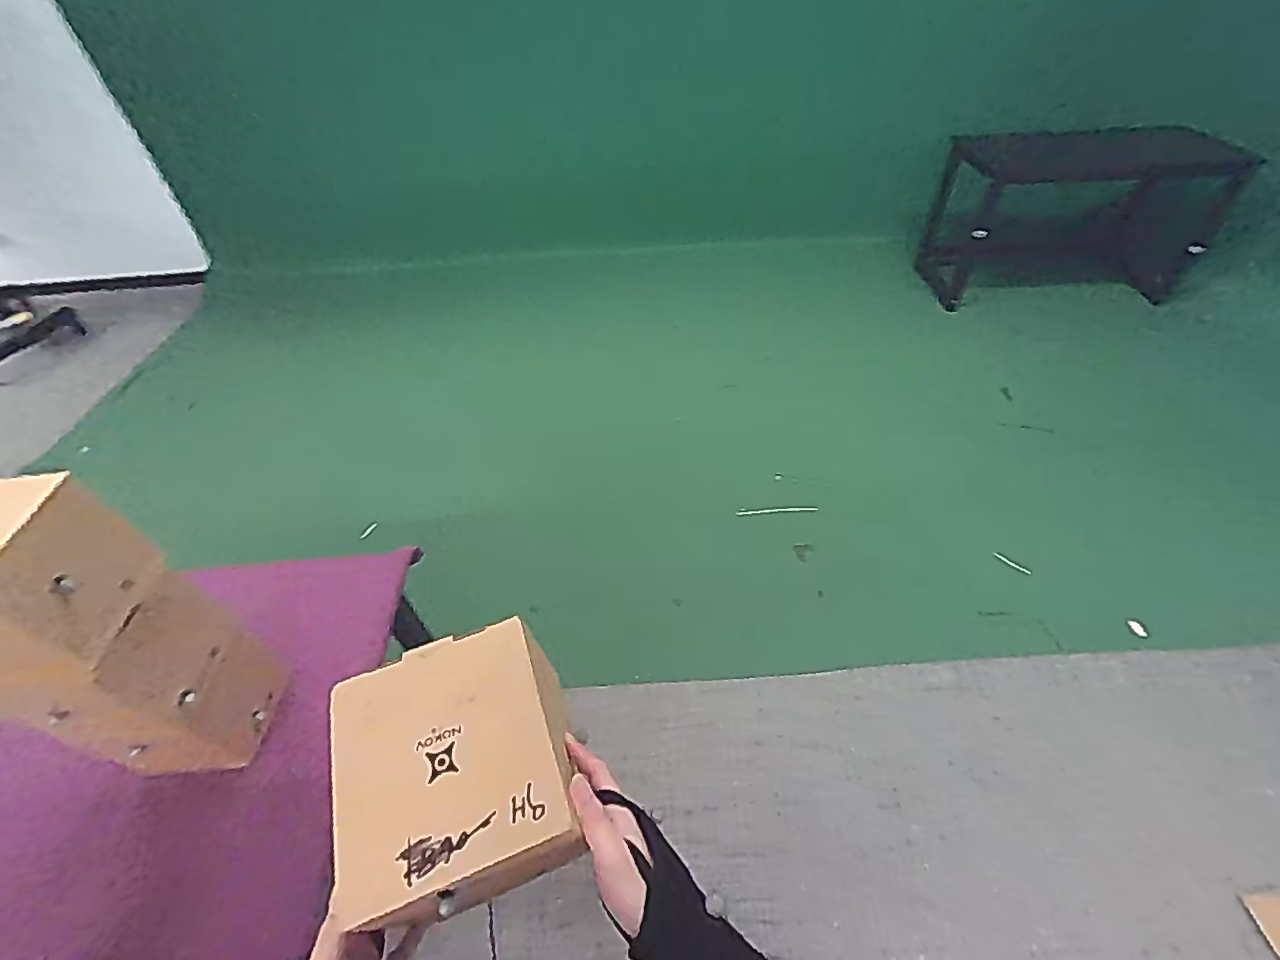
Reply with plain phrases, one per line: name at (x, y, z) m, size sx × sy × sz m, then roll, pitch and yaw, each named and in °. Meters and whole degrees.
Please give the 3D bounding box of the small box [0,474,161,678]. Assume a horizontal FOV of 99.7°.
small box at (-0.726, 0.116, 0.624) m, size 0.179 × 0.176 × 0.168 m, roll -7°, pitch 48°, yaw 1°

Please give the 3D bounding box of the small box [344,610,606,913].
small box at (-0.139, 0.251, 0.482) m, size 0.168 × 0.176 × 0.179 m, roll -19°, pitch 53°, yaw -8°

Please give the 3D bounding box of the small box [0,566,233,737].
small box at (-0.714, 0.235, 0.734) m, size 0.179 × 0.176 × 0.168 m, roll -5°, pitch 47°, yaw 2°

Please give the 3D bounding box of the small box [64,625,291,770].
small box at (-0.707, 0.346, 0.854) m, size 0.179 × 0.176 × 0.168 m, roll -3°, pitch 47°, yaw 1°
